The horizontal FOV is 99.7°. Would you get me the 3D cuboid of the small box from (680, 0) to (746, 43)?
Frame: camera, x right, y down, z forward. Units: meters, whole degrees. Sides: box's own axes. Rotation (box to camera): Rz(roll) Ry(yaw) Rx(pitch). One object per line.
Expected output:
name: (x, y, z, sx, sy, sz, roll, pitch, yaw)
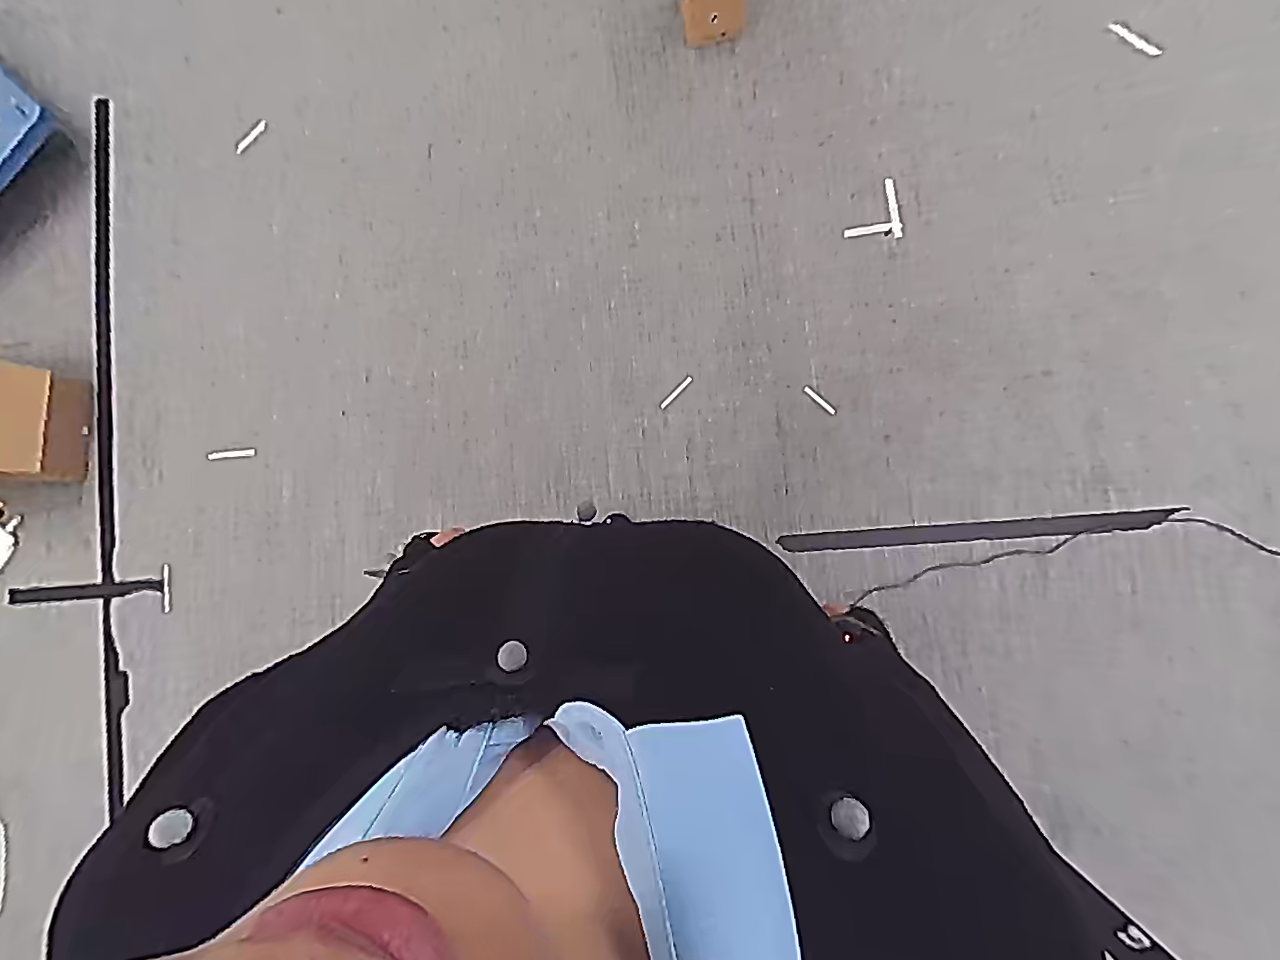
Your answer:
small box: (0.204, -1.376, 1.519, 0.168, 0.176, 0.179, -9, 85, 4)
